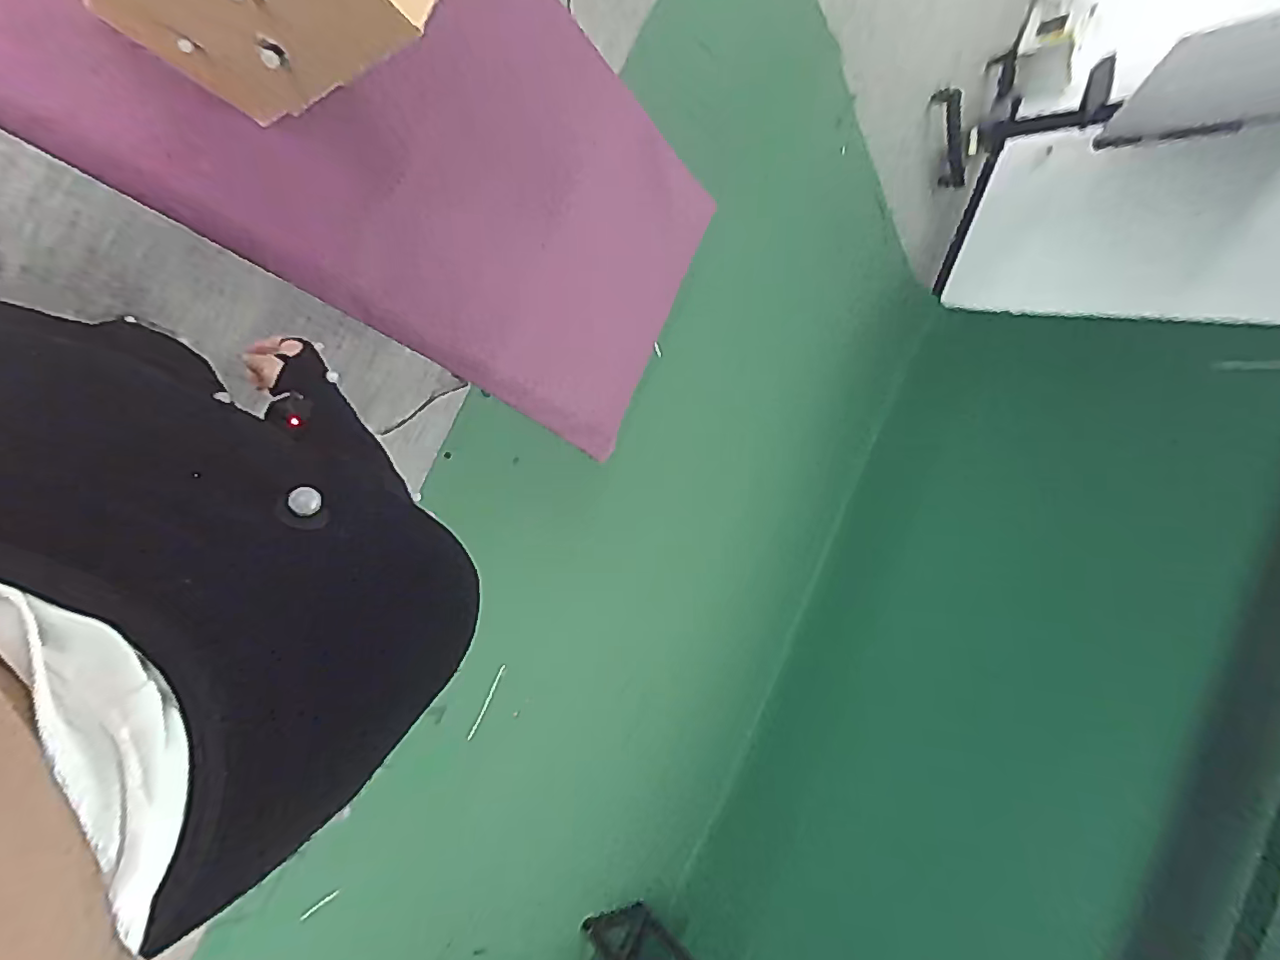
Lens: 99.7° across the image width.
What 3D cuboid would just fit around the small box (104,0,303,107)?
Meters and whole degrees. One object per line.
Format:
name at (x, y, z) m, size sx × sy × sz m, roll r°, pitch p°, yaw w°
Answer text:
small box at (-0.448, -0.545, 0.587) m, size 0.179 × 0.176 × 0.168 m, roll 25°, pitch 88°, yaw -47°

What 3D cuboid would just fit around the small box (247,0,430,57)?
small box at (-0.229, -0.434, 0.367) m, size 0.179 × 0.176 × 0.168 m, roll 27°, pitch 86°, yaw -48°

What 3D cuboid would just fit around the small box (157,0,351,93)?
small box at (-0.340, -0.484, 0.477) m, size 0.179 × 0.176 × 0.168 m, roll 28°, pitch 86°, yaw -47°
